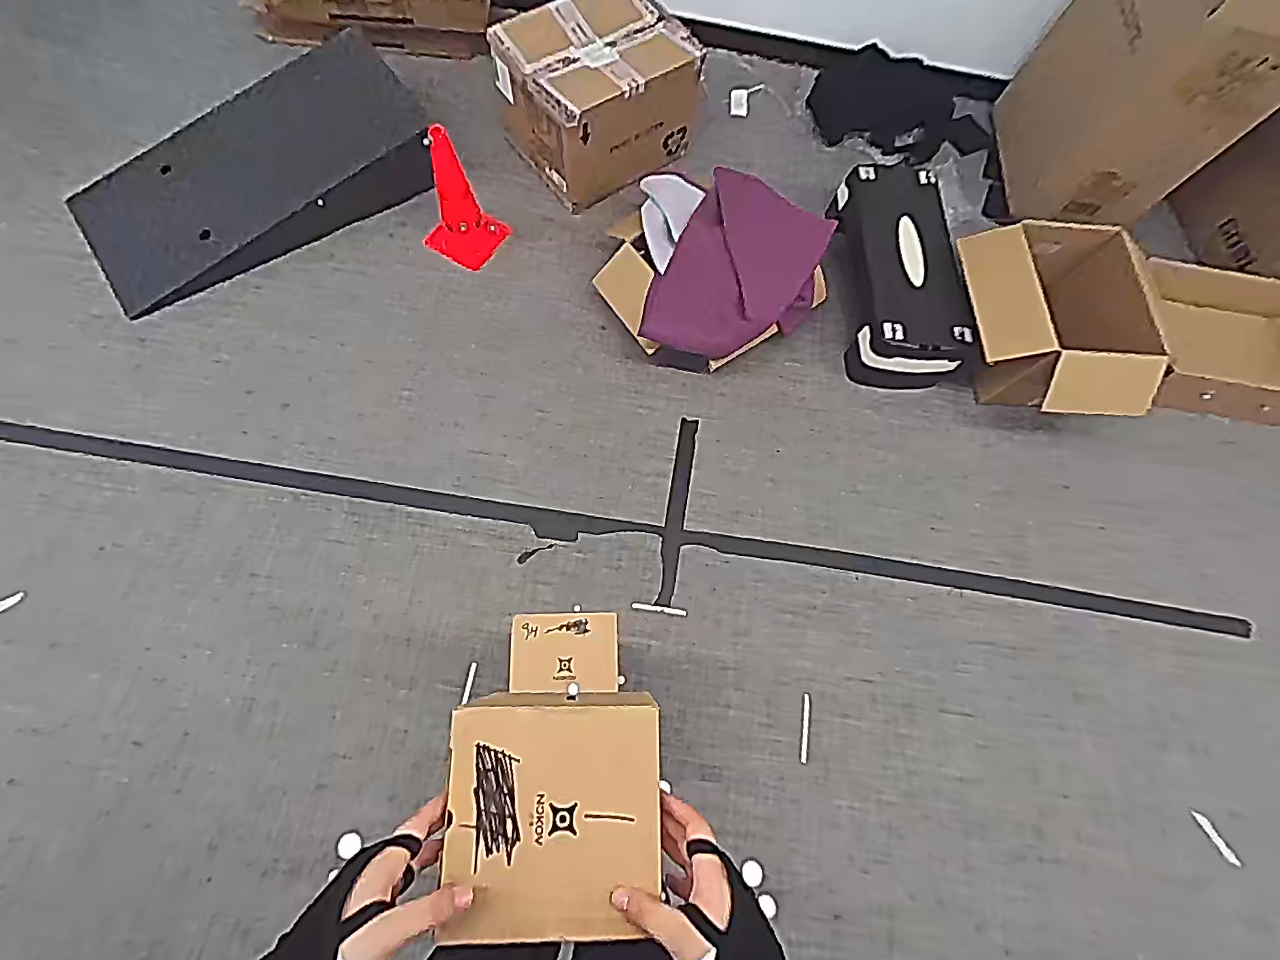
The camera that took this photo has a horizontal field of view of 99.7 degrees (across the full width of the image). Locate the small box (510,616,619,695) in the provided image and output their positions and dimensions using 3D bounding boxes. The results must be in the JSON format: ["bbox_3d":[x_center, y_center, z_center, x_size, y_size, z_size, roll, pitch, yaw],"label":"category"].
[{"bbox_3d":[-0.118,0.322,0.895,0.168,0.176,0.179,-1,71,-4],"label":"small box"}]

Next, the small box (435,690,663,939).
[{"bbox_3d":[-0.071,0.293,0.509,0.179,0.176,0.168,0,73,-3],"label":"small box"}]
